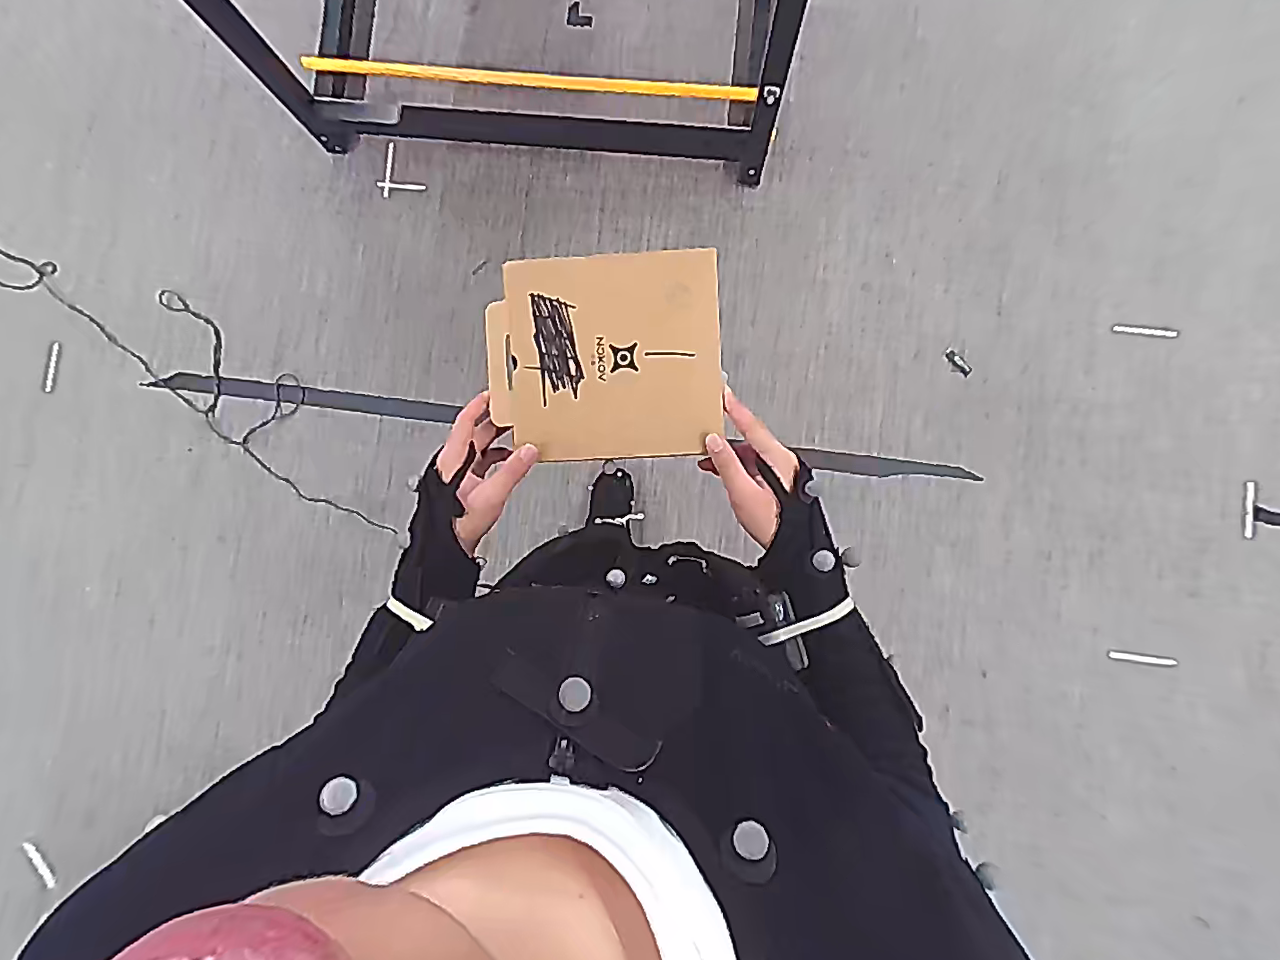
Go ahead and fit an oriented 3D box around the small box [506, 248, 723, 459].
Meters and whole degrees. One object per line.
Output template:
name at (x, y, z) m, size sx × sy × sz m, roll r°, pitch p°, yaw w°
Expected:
small box at (-0.017, -0.106, 0.522) m, size 0.179 × 0.176 × 0.168 m, roll -3°, pitch 93°, yaw 2°
